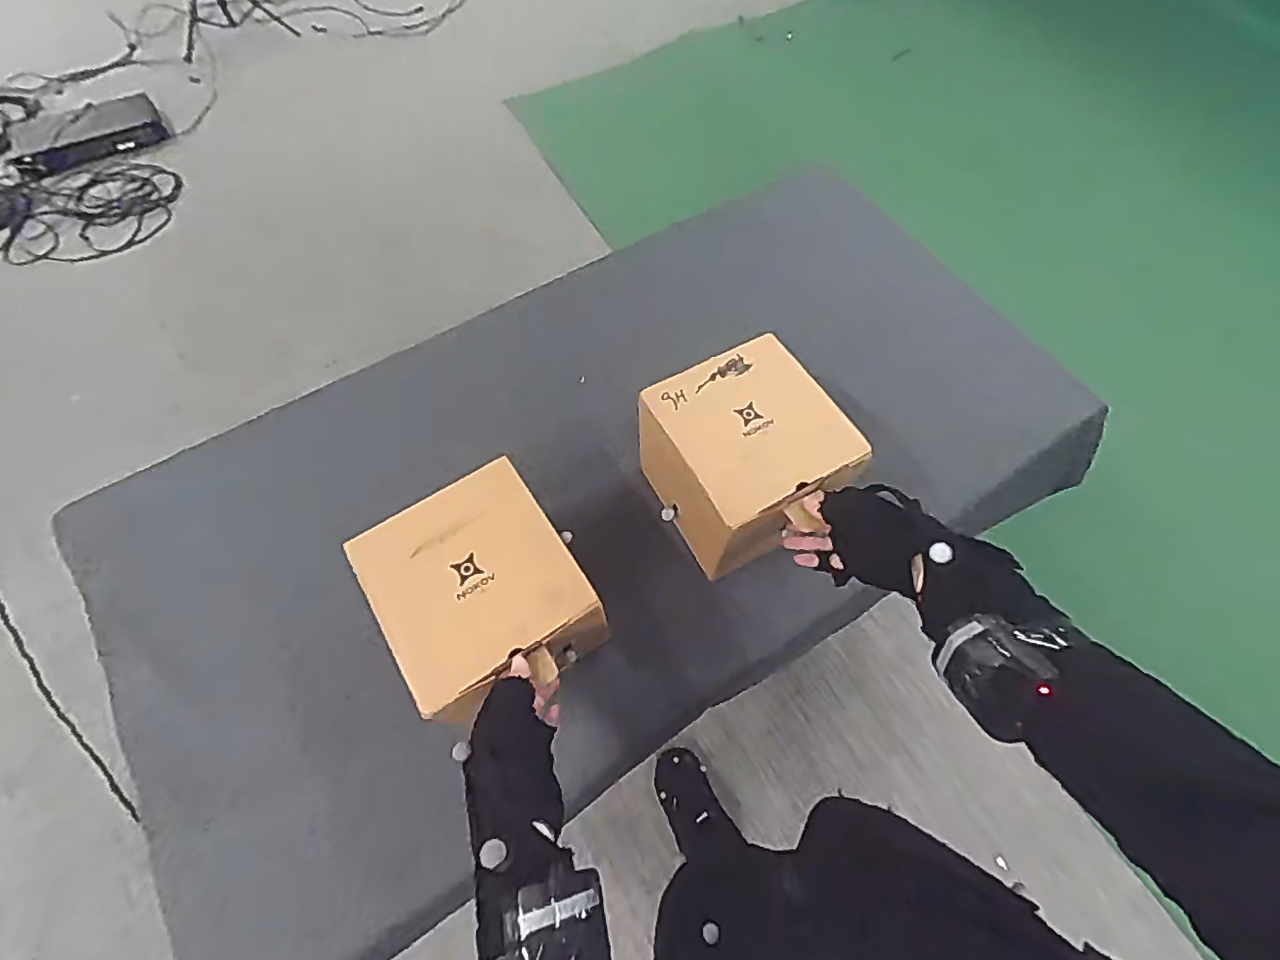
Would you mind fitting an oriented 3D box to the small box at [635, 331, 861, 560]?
[{"bbox_3d":[0.107,-0.026,0.612,0.168,0.176,0.179,-26,67,-12],"label":"small box"}]

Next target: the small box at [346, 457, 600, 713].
[{"bbox_3d":[-0.153,0.115,0.553,0.168,0.176,0.179,-32,68,-16],"label":"small box"}]
